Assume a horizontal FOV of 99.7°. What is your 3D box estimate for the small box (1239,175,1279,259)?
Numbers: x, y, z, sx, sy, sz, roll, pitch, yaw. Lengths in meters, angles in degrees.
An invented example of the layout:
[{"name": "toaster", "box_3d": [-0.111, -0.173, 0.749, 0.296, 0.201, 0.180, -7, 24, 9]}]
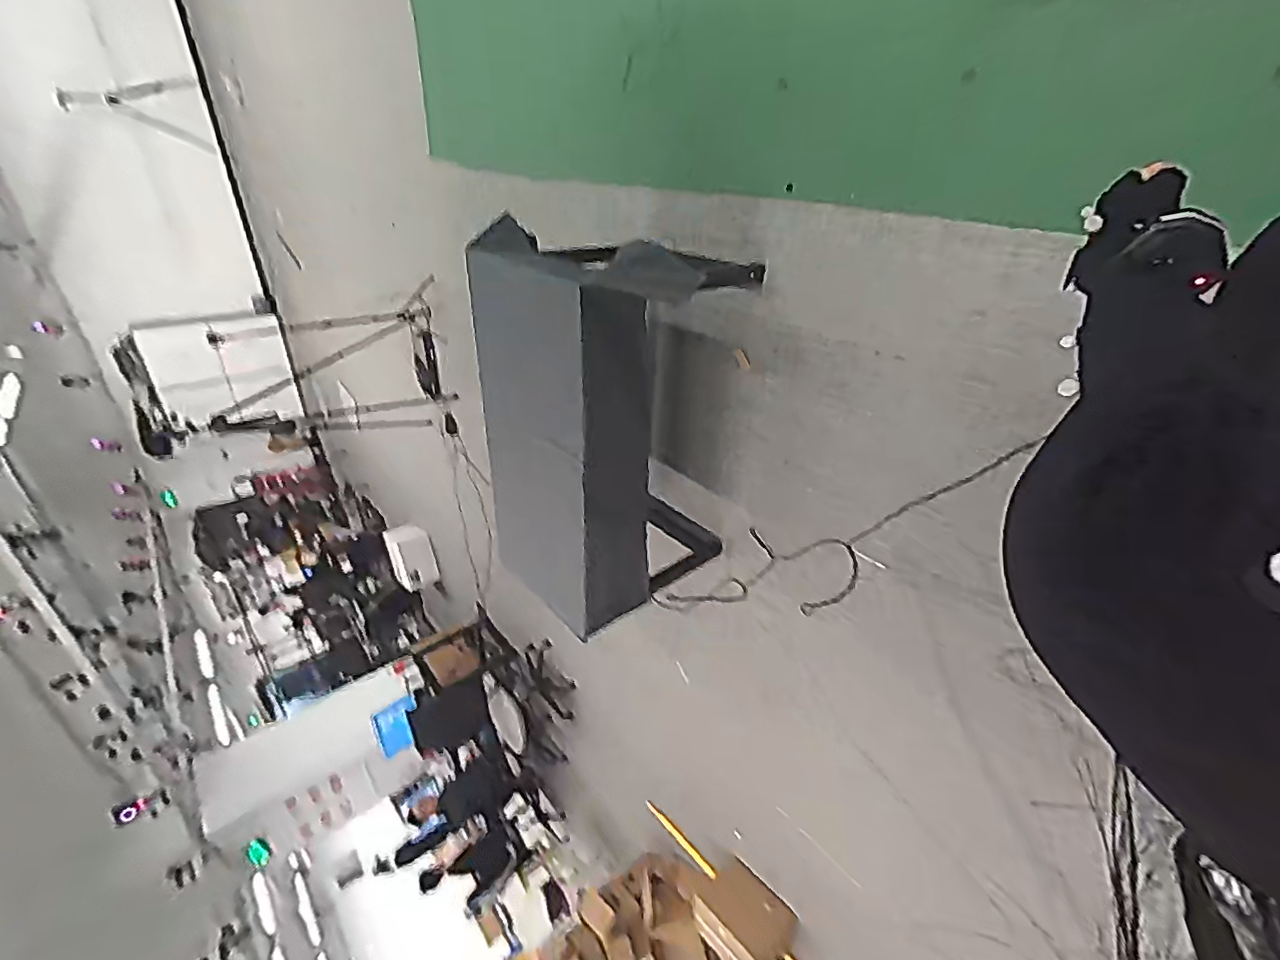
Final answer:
[{"name": "small box", "box_3d": [1.093, -0.427, 0.820, 0.168, 0.176, 0.179, 100, 155, -57]}]
